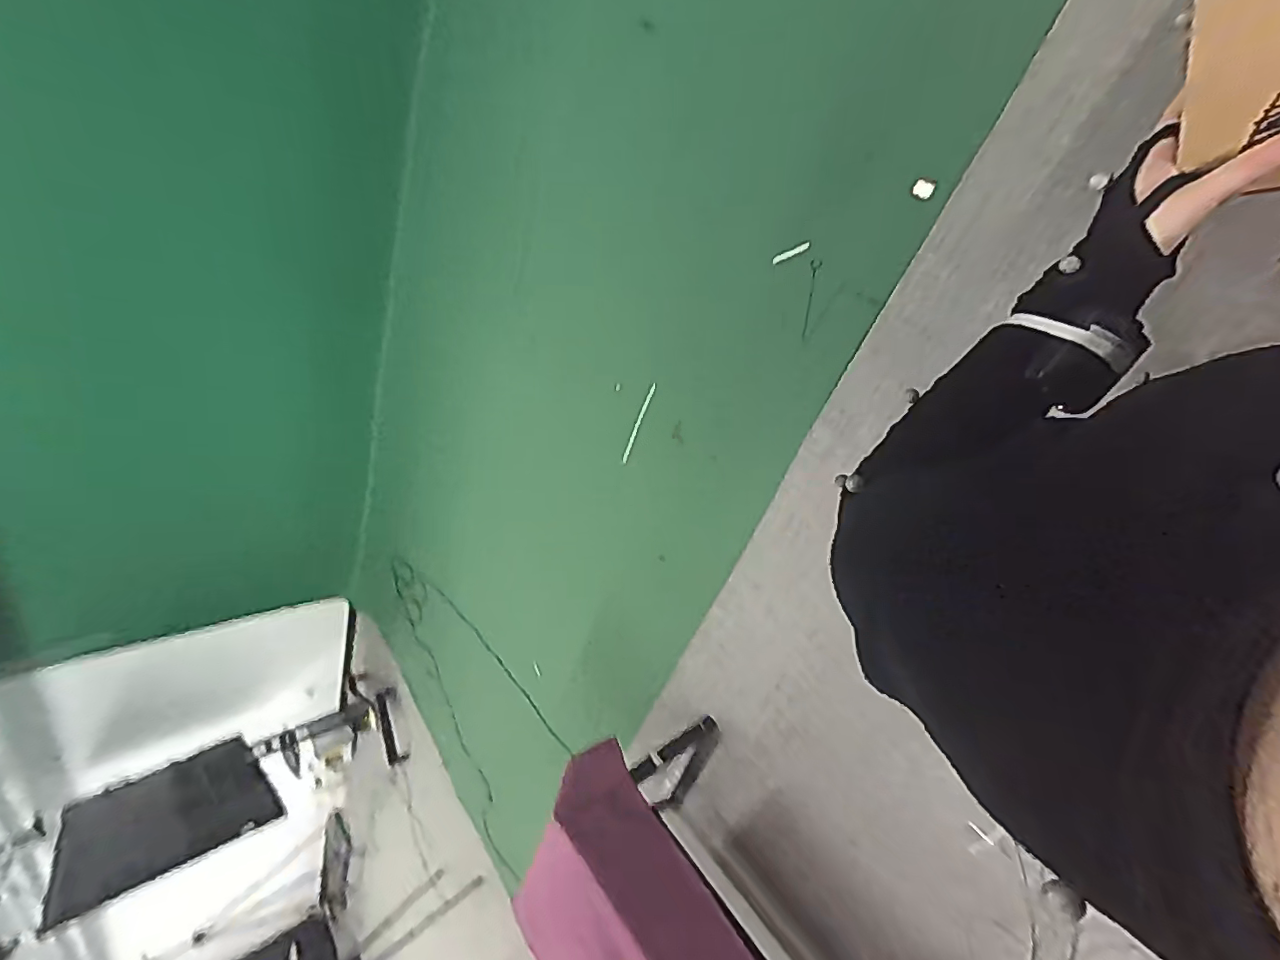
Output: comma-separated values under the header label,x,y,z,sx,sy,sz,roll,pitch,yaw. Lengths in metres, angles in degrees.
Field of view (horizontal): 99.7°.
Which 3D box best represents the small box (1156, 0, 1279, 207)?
label,x,y,z,sx,sy,sz,roll,pitch,yaw
small box,0.426,-0.295,0.306,0.168,0.176,0.179,11,141,46
